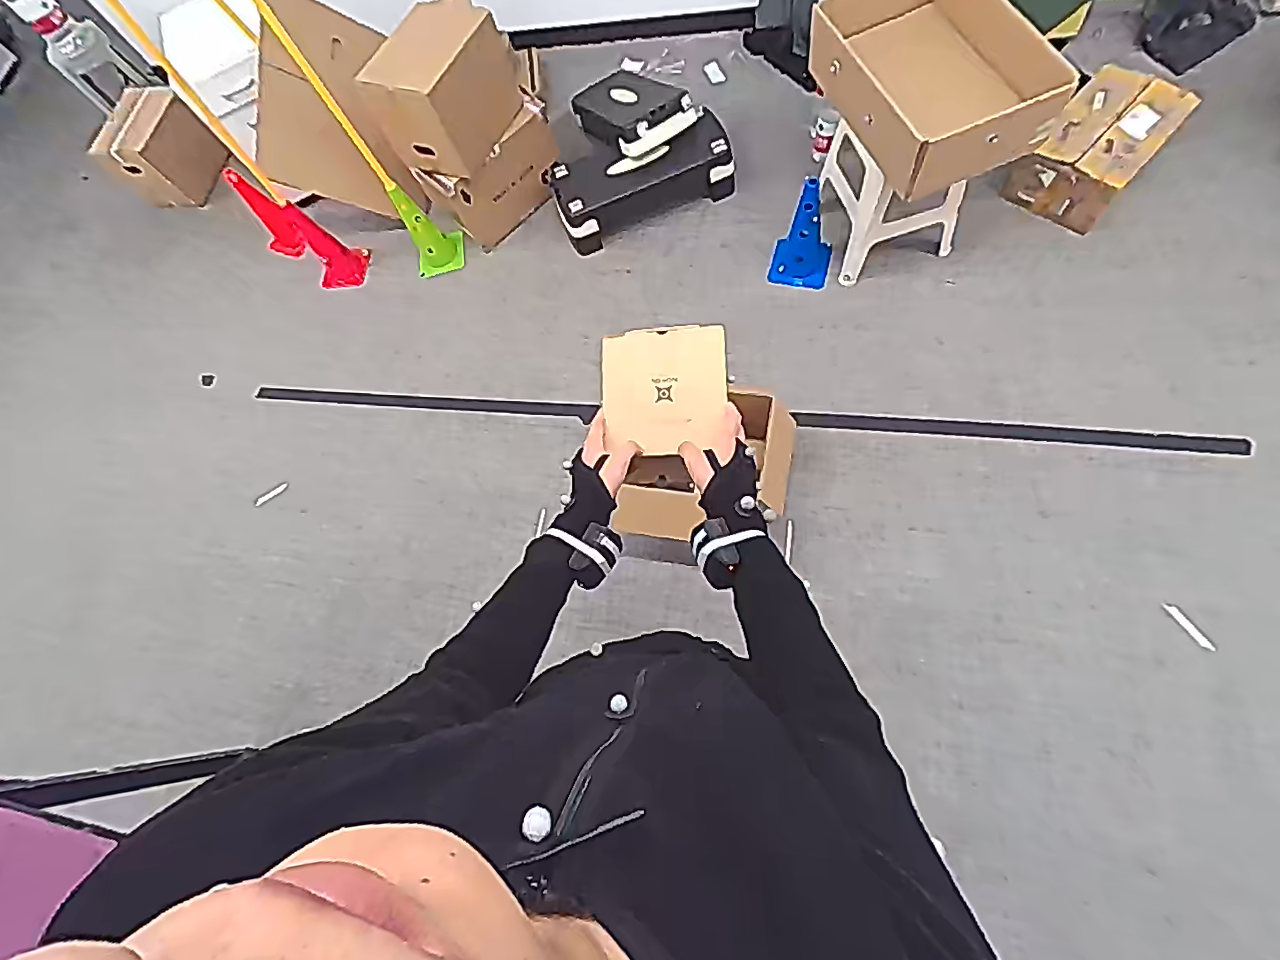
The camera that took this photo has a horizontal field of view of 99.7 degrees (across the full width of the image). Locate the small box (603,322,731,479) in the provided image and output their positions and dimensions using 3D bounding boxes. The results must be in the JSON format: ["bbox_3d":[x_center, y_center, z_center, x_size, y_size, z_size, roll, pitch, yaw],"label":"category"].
[{"bbox_3d":[0.043,-0.107,0.785,0.168,0.176,0.179,-2,78,8],"label":"small box"}]
